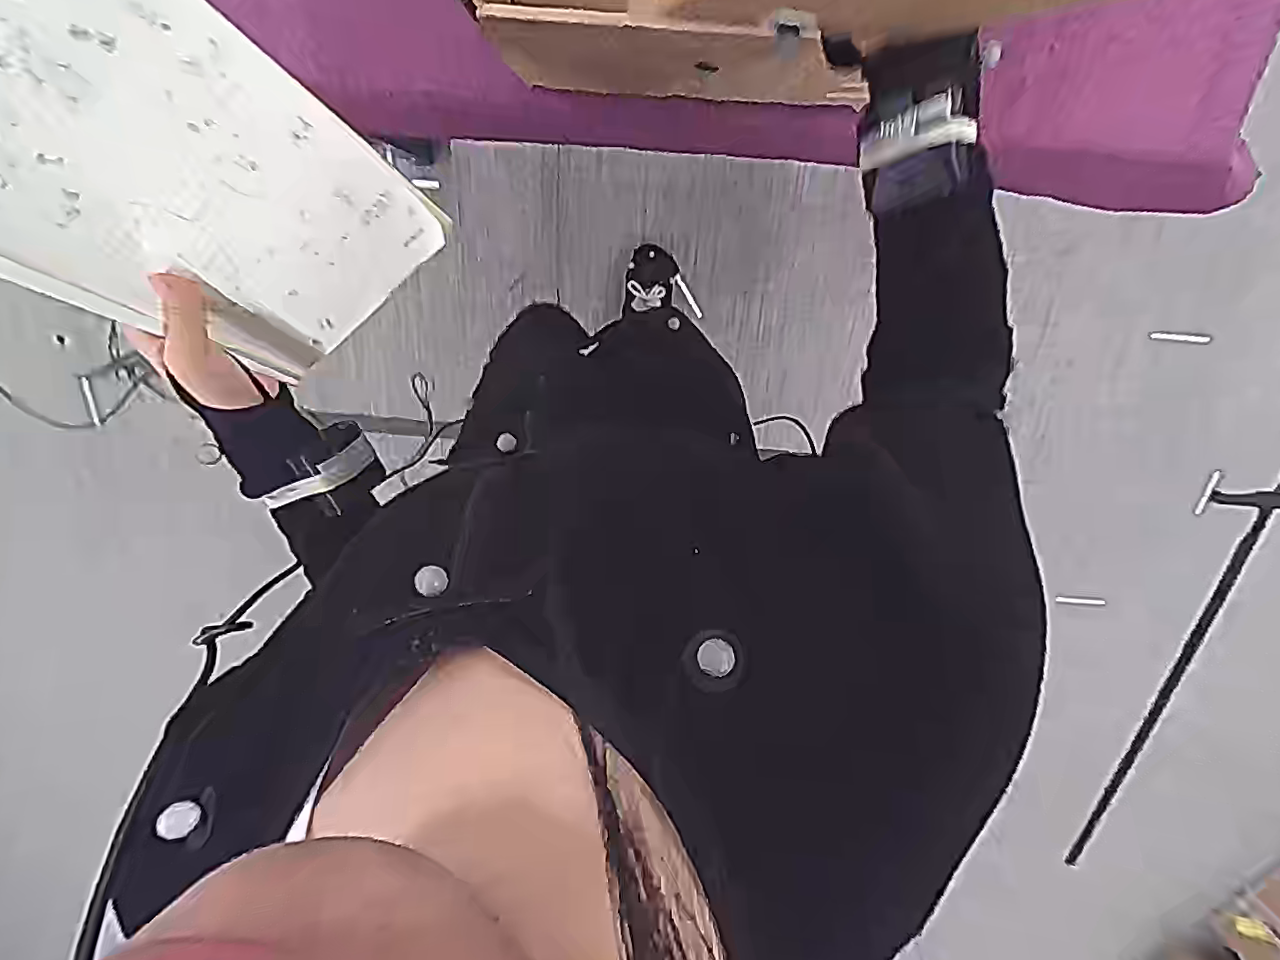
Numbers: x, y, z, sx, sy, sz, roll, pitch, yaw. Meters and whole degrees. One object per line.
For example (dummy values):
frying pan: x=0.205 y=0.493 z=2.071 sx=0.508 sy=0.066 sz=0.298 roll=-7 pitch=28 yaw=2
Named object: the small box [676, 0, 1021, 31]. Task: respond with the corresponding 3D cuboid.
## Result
small box: x=0.104 y=-0.299 z=0.205 sx=0.168 sy=0.176 sz=0.179 roll=-5 pitch=124 yaw=-9
